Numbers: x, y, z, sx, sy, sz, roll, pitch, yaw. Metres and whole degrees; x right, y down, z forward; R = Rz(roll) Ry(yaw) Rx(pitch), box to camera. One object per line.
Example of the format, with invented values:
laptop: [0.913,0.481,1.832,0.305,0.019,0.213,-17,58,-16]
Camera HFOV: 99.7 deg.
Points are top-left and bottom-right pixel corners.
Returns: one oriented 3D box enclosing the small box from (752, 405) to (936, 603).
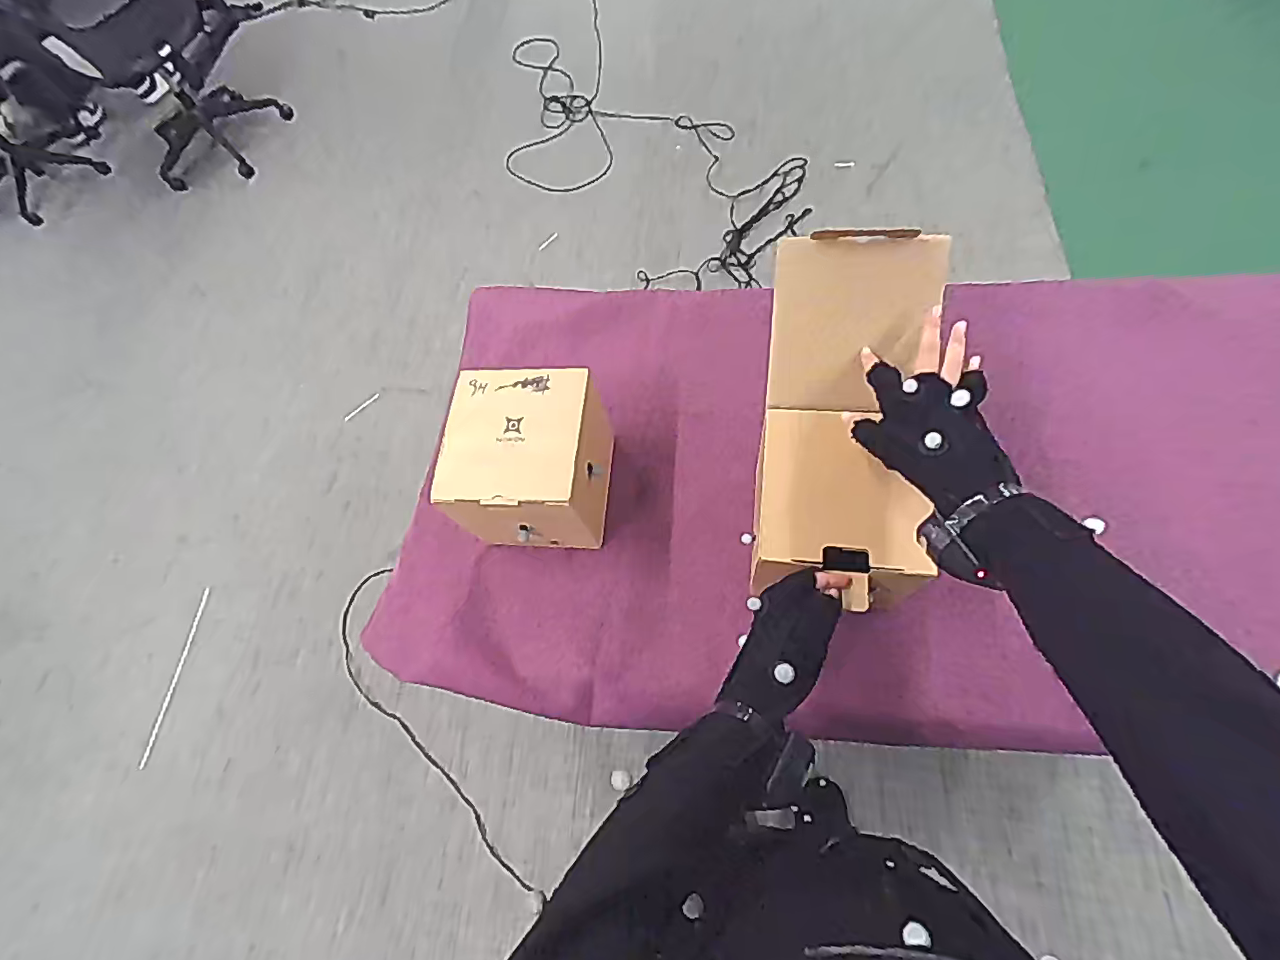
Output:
small box: [0.217,0.034,0.614,0.168,0.176,0.179,4,67,10]

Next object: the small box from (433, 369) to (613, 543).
small box: [-0.135,-0.023,0.695,0.168,0.176,0.179,1,67,9]
